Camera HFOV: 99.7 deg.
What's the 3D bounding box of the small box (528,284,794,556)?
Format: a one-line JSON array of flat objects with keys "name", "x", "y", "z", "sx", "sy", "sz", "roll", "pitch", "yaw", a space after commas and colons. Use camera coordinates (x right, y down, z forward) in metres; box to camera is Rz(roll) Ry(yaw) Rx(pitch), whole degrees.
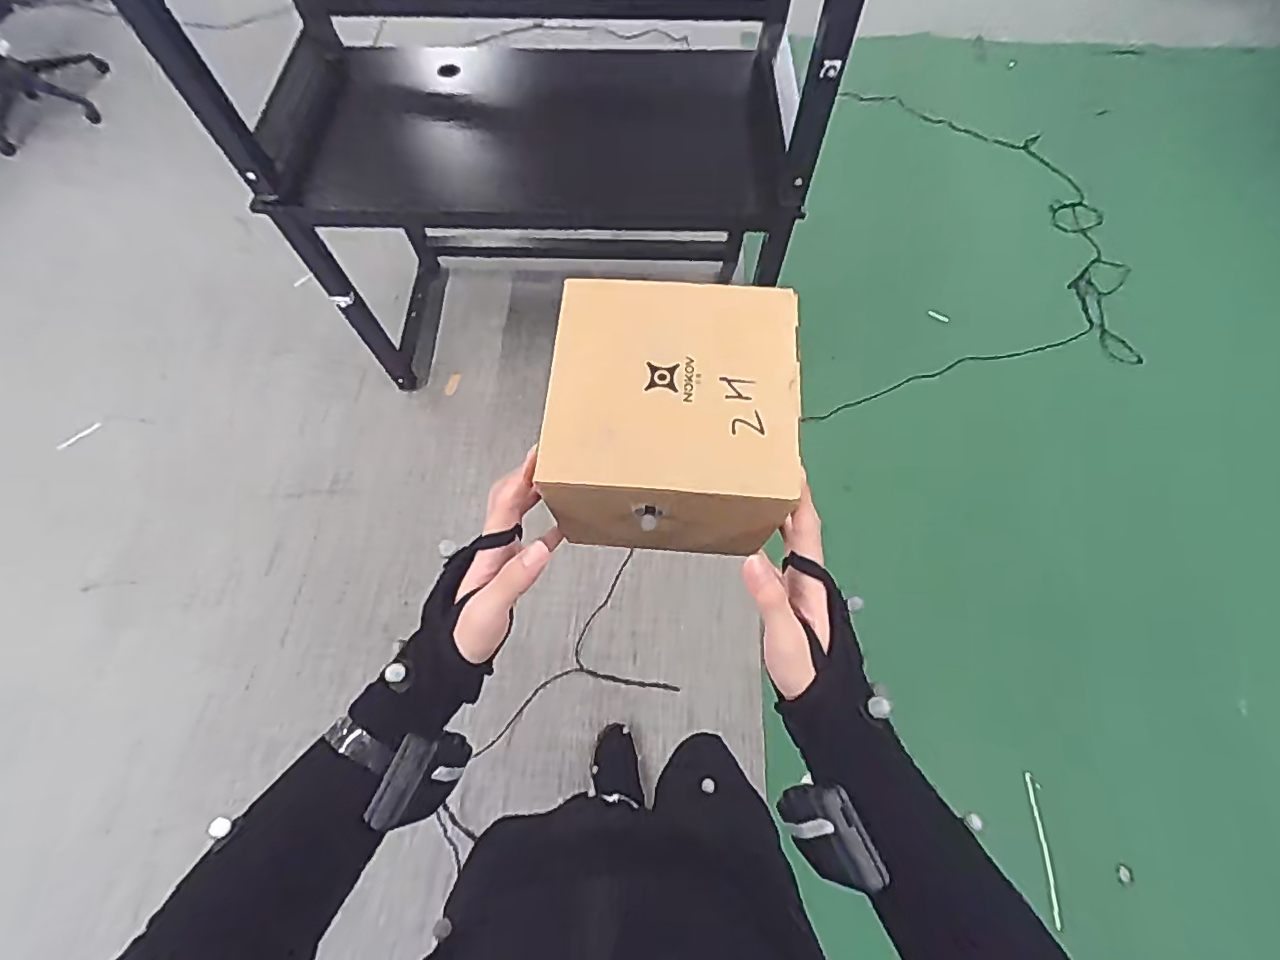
[{"name": "small box", "x": 0.021, "y": -0.038, "z": 0.451, "sx": 0.179, "sy": 0.176, "sz": 0.168, "roll": 4, "pitch": 69, "yaw": 3}]
